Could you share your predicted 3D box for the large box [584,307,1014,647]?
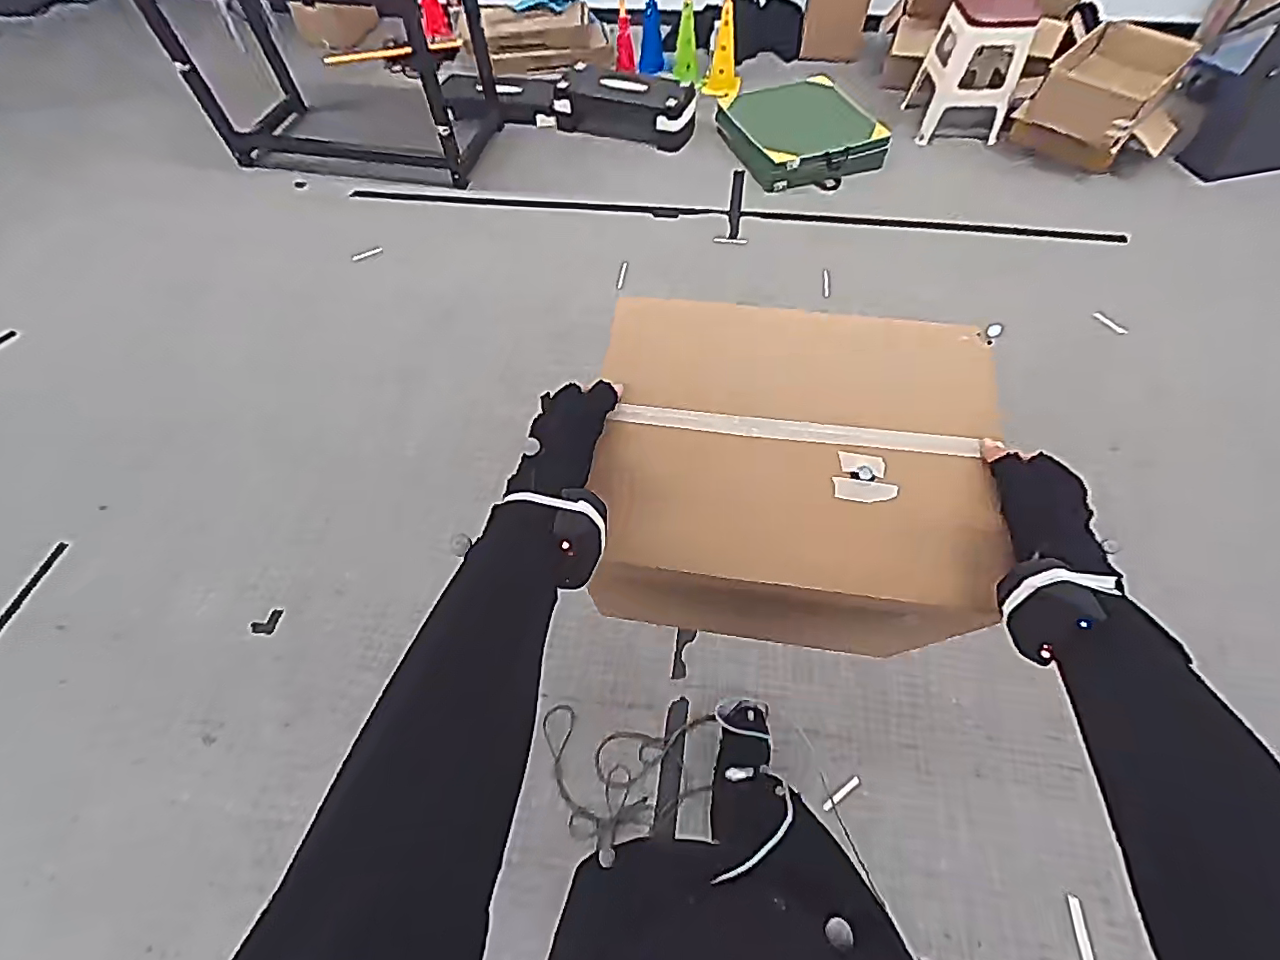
[{"bbox_3d":[0.164,0.015,0.695,0.408,0.320,0.320,7,67,5],"label":"large box"}]
